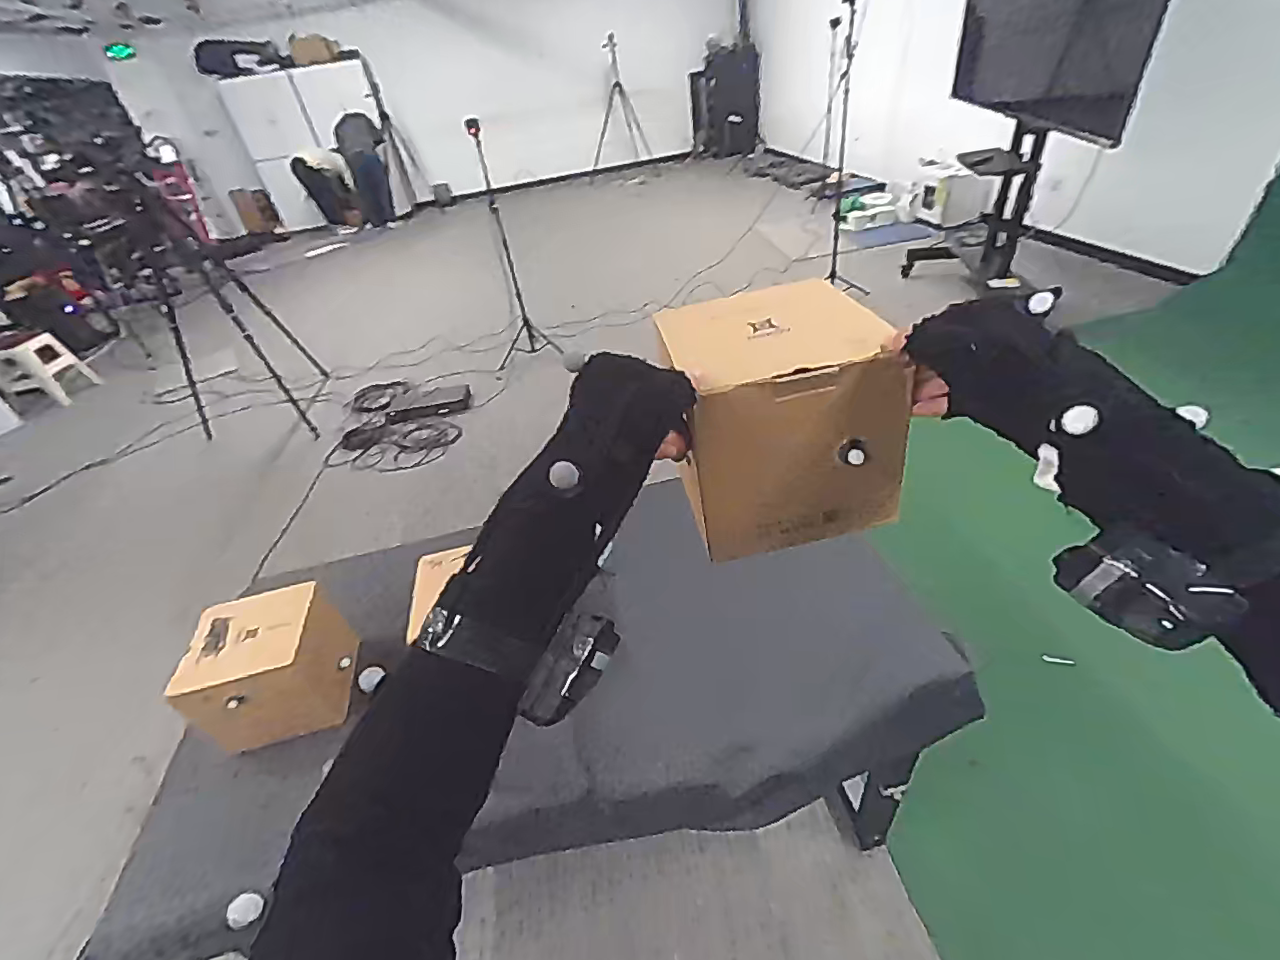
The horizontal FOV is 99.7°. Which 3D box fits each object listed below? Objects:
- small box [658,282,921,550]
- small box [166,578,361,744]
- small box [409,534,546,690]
[{"bbox_3d":[0.121,-0.055,0.485,0.168,0.176,0.179,-12,35,-1],"label":"small box"},{"bbox_3d":[-0.580,0.290,0.864,0.179,0.176,0.168,-14,39,-7],"label":"small box"},{"bbox_3d":[-0.256,0.221,0.888,0.168,0.176,0.179,-13,39,-5],"label":"small box"}]
